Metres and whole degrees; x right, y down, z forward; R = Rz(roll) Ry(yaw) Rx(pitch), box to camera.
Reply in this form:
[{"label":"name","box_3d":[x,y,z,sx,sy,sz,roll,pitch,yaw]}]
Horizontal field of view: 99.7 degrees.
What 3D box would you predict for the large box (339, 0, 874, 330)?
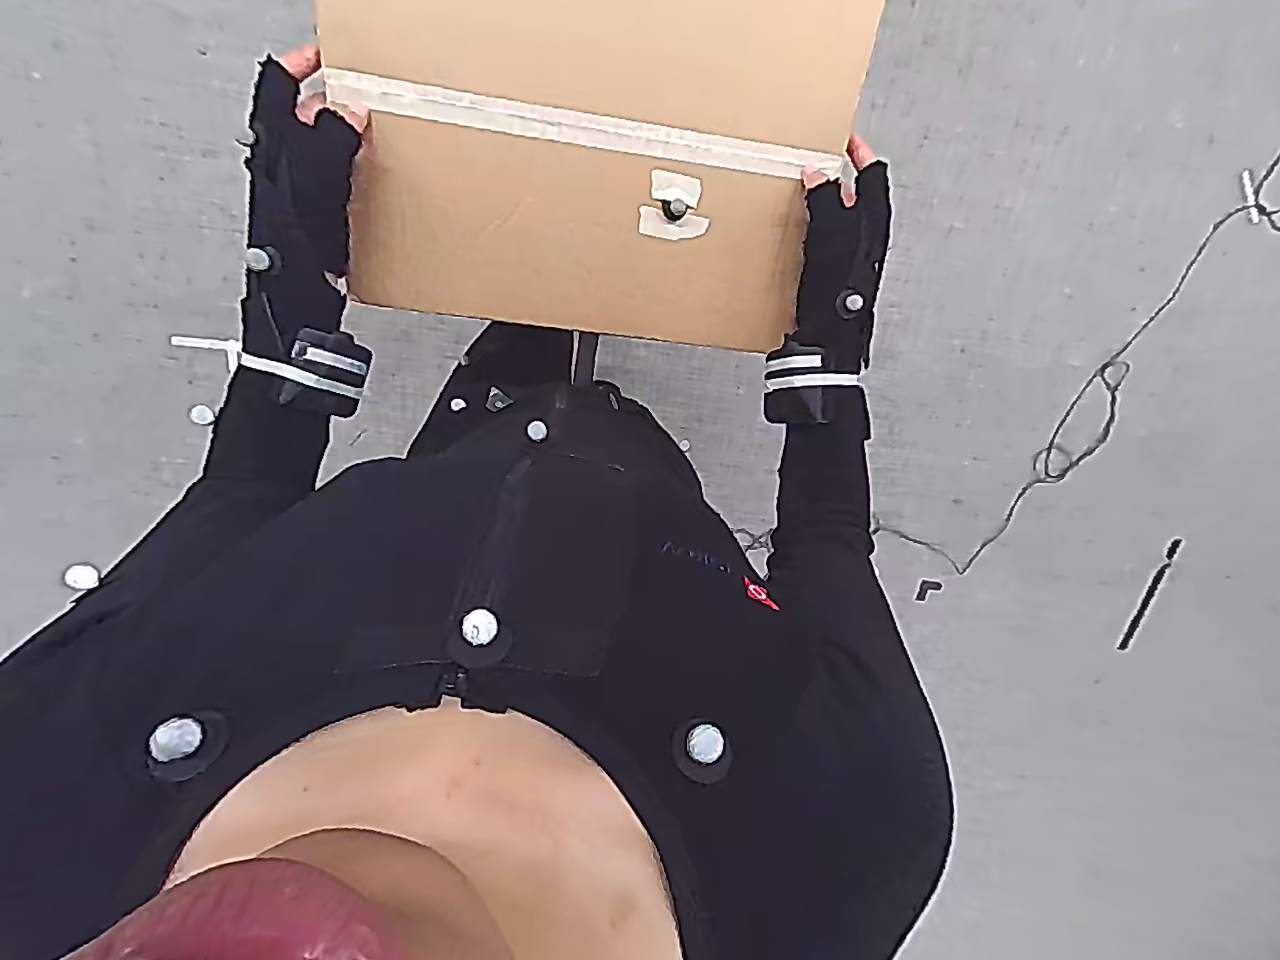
[{"label":"large box","box_3d":[-0.043,-0.360,0.566,0.408,0.320,0.320,4,117,-9]}]
